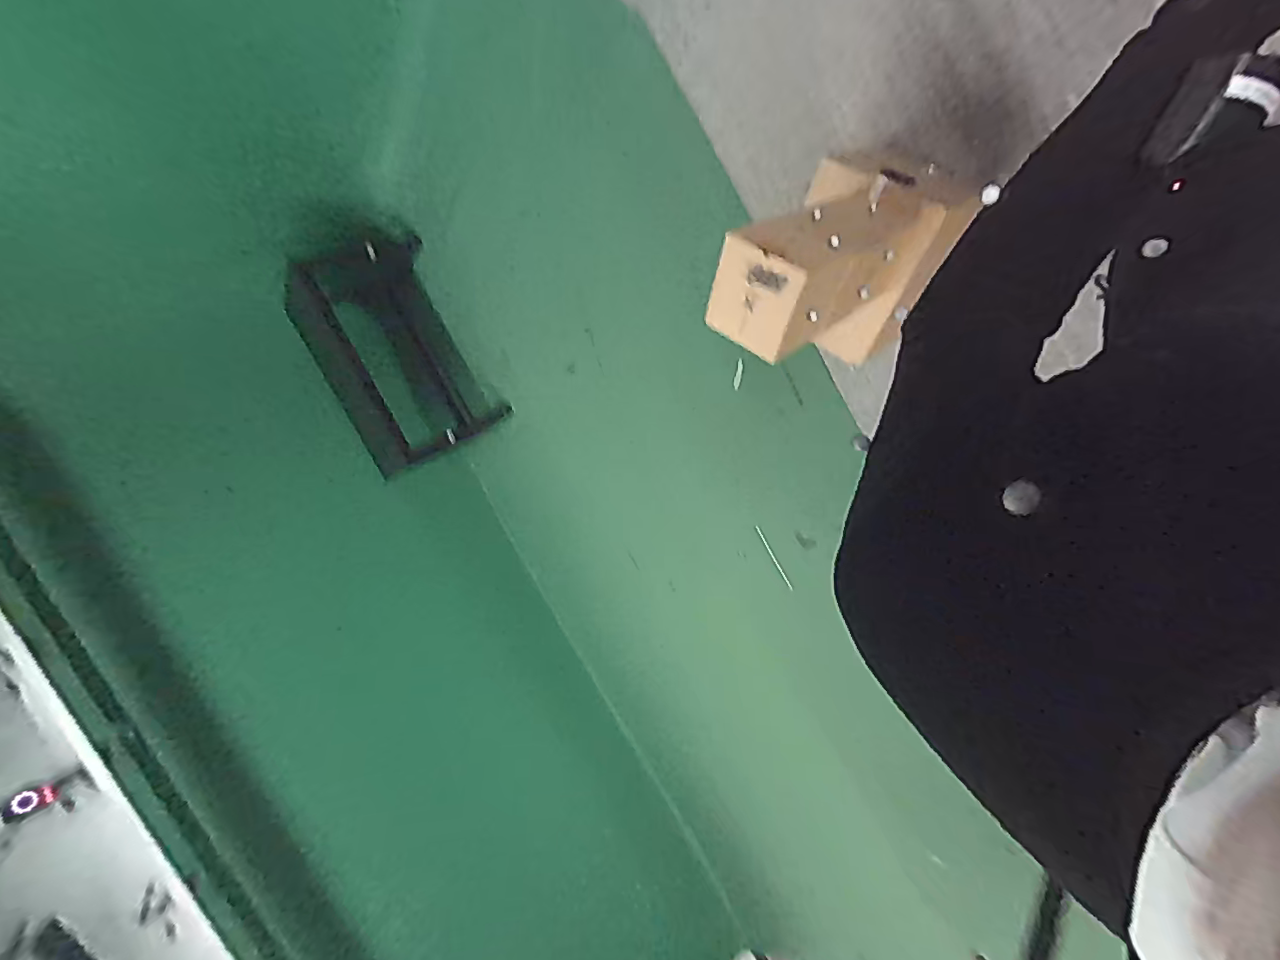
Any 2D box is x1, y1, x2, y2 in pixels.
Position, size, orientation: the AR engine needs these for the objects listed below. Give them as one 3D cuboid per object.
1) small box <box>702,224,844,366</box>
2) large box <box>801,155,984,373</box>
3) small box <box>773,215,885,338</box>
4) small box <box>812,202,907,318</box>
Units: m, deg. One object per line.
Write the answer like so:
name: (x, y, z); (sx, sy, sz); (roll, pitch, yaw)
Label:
small box: (0.245, -0.345, 0.991); (0.168, 0.176, 0.179); (39, 142, 23)
large box: (0.589, -0.564, 1.401); (0.320, 0.320, 0.408); (41, 141, 24)
small box: (0.352, -0.417, 1.092); (0.179, 0.176, 0.168); (40, 141, 21)
small box: (0.456, -0.490, 1.192); (0.168, 0.176, 0.179); (39, 140, 23)
